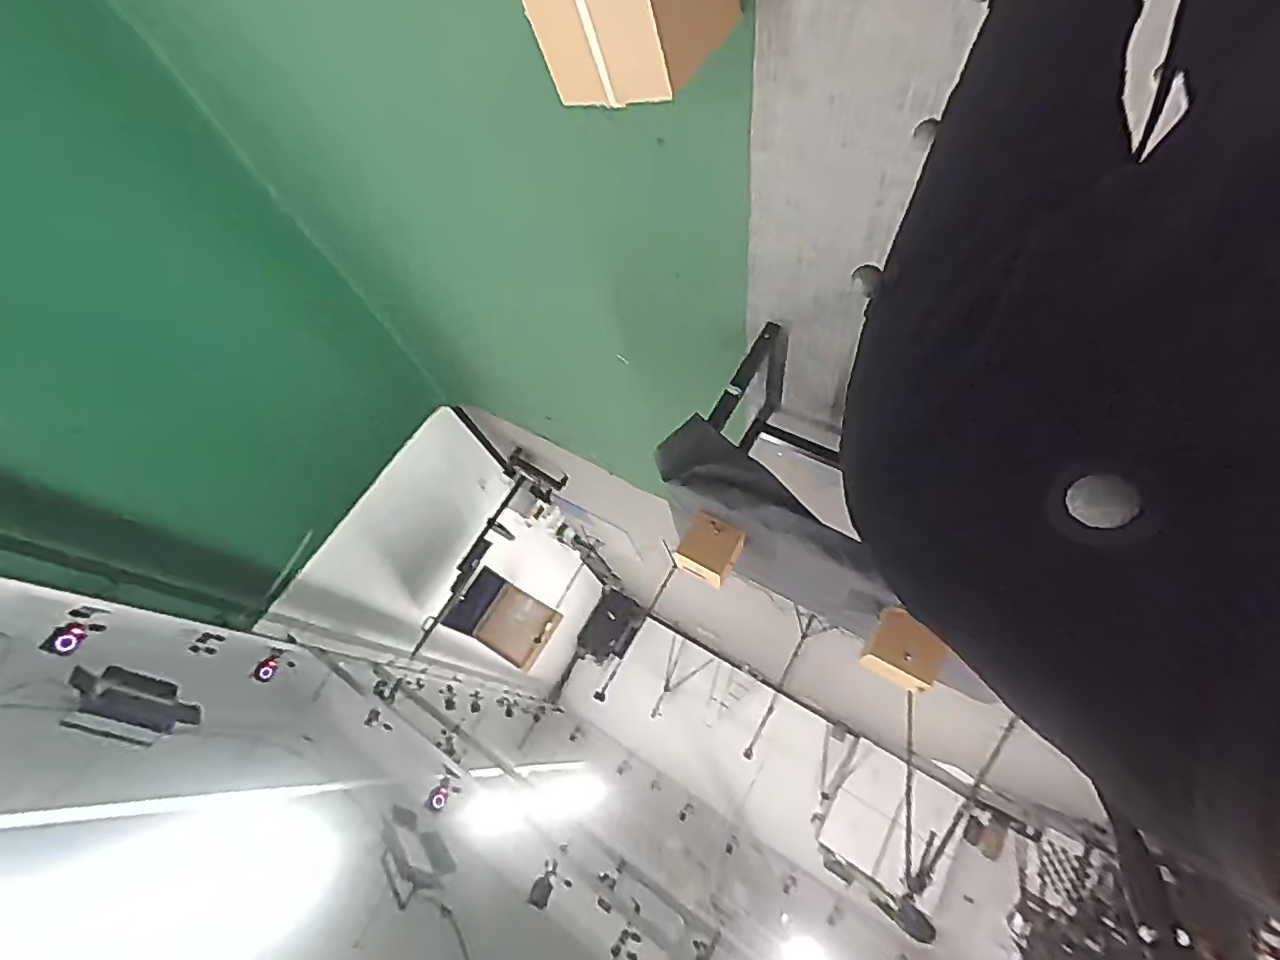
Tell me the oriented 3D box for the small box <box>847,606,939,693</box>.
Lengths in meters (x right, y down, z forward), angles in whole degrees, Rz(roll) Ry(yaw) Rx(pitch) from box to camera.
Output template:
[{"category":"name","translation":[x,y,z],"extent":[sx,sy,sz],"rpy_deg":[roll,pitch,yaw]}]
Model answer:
[{"category":"small box","translation":[0.731,0.491,1.566],"extent":[0.179,0.176,0.168],"rpy_deg":[27,160,20]}]
